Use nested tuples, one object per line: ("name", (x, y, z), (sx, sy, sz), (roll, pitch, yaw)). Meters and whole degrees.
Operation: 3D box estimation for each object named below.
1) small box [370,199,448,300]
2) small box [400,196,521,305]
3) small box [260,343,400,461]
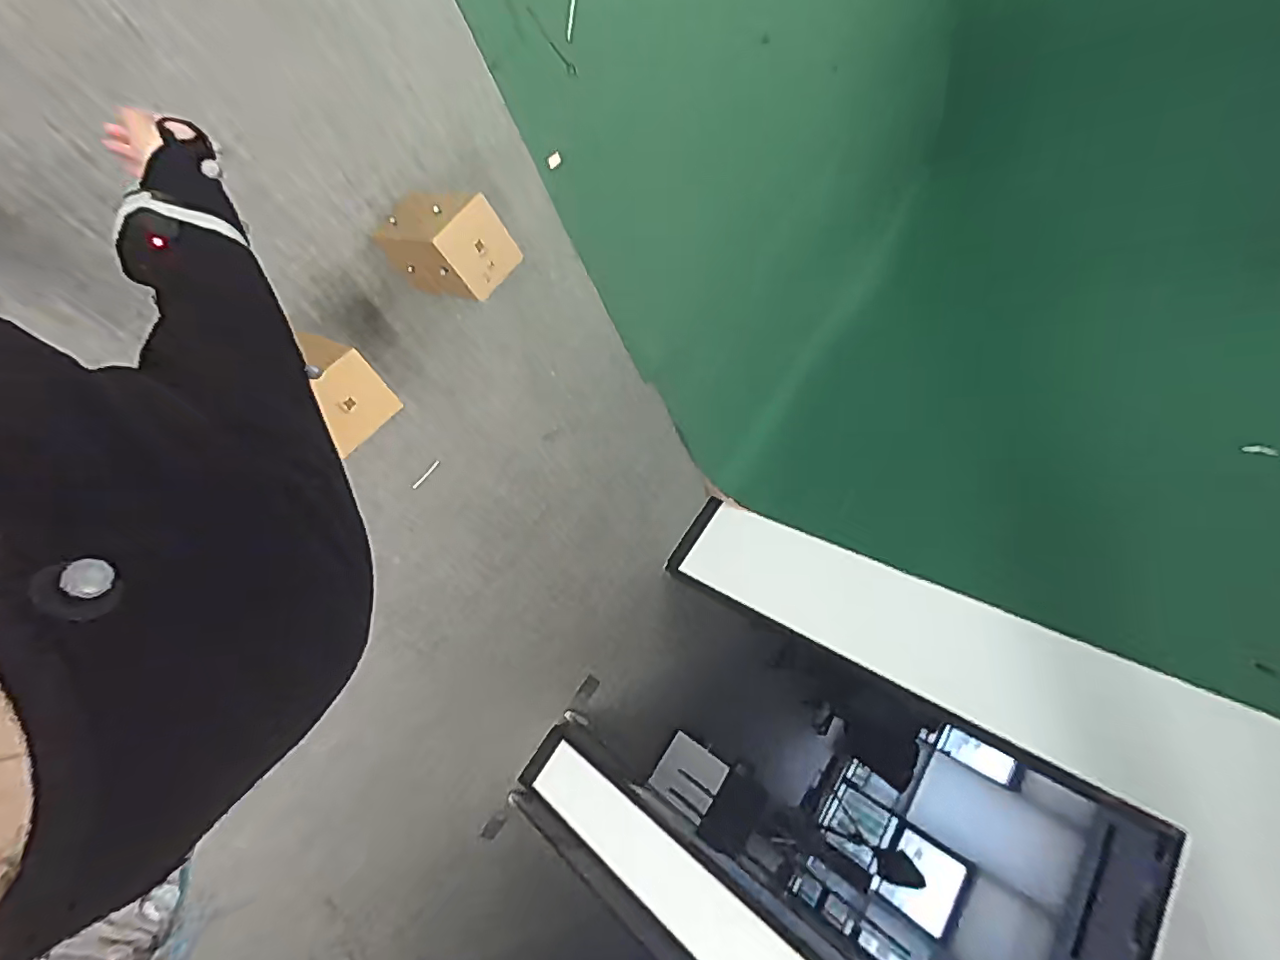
("small box", (-0.545, -0.588, 1.380), (0.168, 0.176, 0.179), (-53, 140, -17))
("small box", (-0.426, -0.541, 1.278), (0.168, 0.176, 0.179), (-53, 140, -15))
("small box", (-0.671, -0.175, 1.171), (0.179, 0.176, 0.168), (-49, 139, -21))
